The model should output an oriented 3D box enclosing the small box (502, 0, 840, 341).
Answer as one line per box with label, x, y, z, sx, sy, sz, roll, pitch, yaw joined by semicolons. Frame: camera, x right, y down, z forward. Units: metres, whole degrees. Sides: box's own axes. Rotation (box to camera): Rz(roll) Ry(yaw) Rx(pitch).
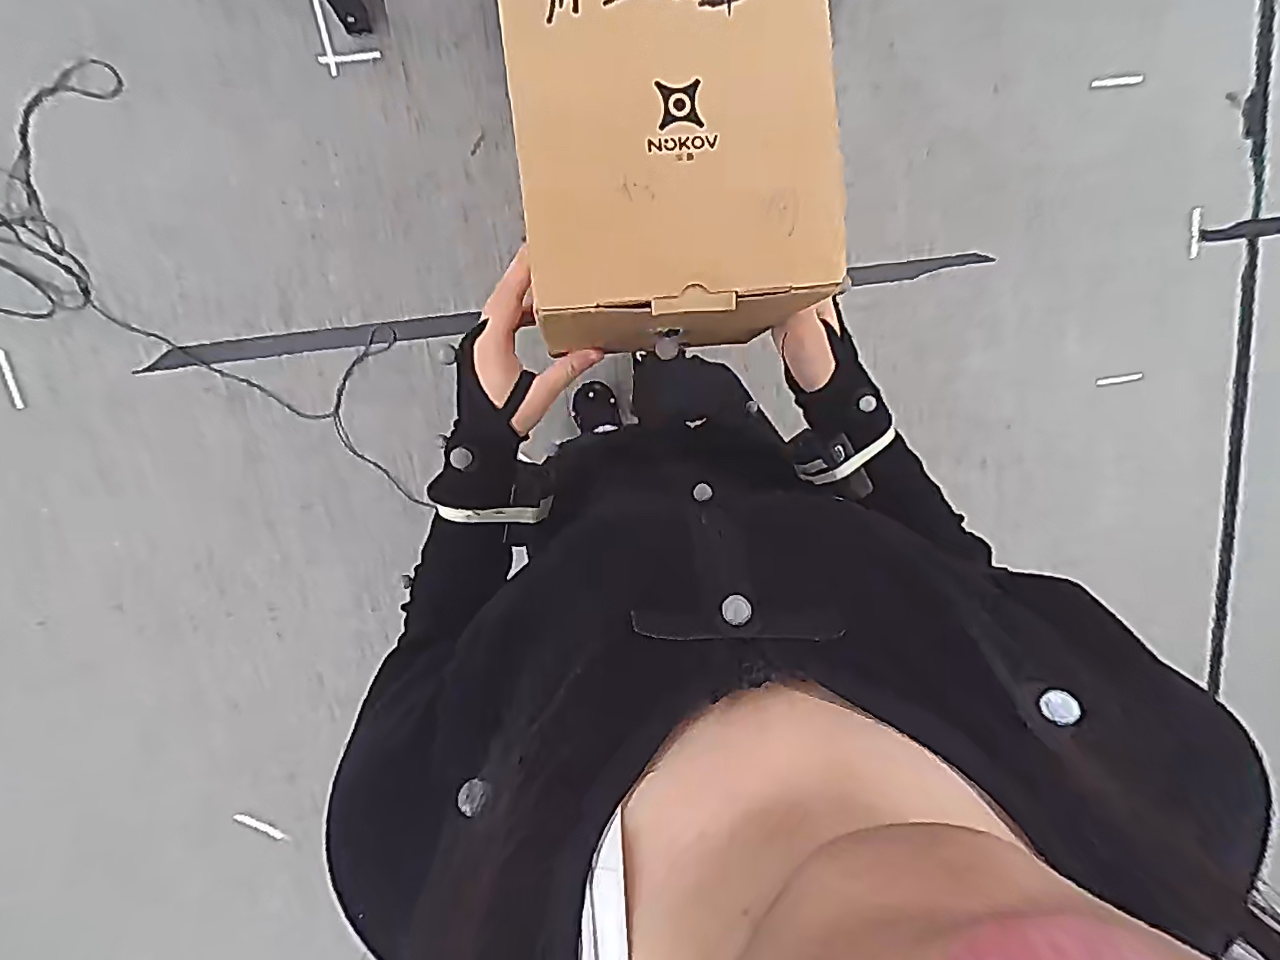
small box;0.011;-0.190;0.350;0.168;0.176;0.179;-6;96;-6
